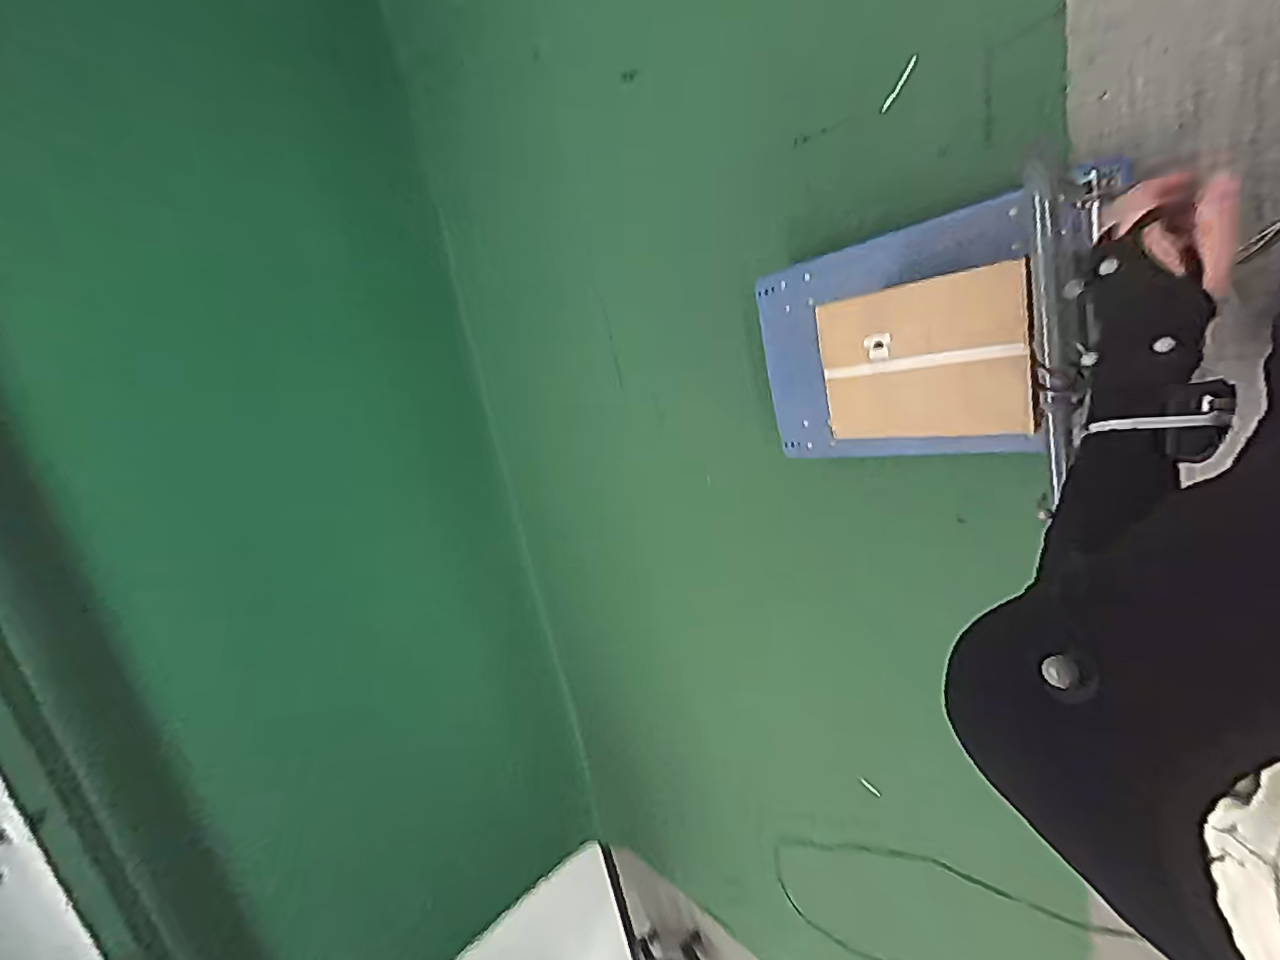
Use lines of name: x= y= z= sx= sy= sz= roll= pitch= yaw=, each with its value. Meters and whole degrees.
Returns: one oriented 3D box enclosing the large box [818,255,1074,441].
large box: x=0.674 y=-0.280 z=1.203 sx=0.408 sy=0.320 sz=0.320 roll=2 pitch=108 yaw=50
